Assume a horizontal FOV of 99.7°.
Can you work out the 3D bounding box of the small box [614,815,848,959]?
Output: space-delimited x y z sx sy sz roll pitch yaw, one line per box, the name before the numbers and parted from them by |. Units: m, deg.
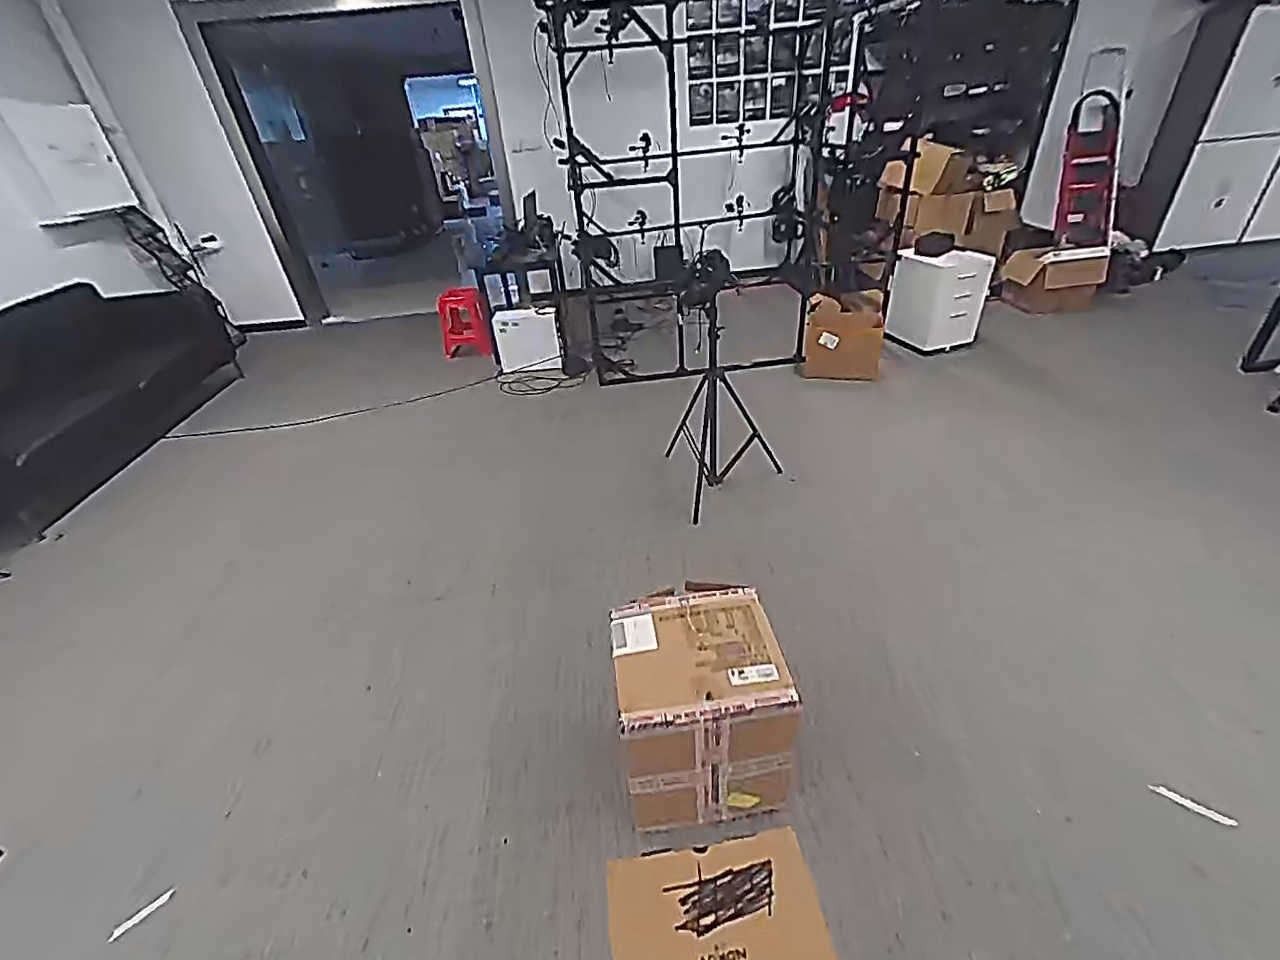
small box | 0.072 0.415 0.439 0.168 0.176 0.179 -8 35 -5
